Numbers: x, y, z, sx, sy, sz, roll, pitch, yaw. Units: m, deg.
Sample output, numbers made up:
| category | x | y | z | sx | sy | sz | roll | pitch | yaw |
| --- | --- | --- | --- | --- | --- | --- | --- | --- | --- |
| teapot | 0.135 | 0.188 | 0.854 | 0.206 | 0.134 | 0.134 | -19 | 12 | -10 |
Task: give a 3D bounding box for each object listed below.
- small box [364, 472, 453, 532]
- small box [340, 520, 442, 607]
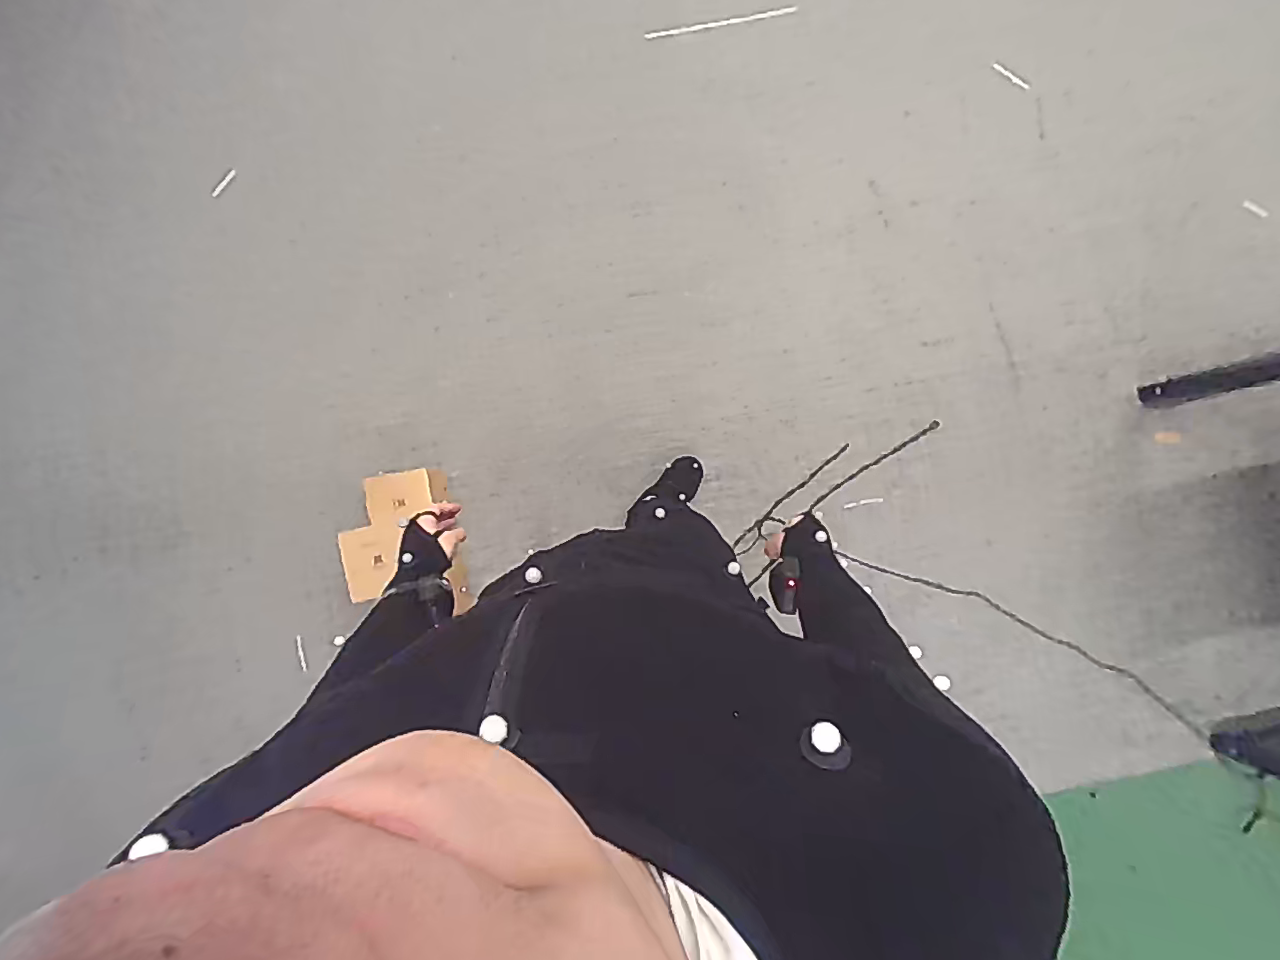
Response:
| category | x | y | z | sx | sy | sz | roll | pitch | yaw |
| --- | --- | --- | --- | --- | --- | --- | --- | --- | --- |
| small box | -0.646 | 0.072 | 1.533 | 0.179 | 0.176 | 0.168 | -12 | 90 | -1 |
| small box | -0.620 | 0.205 | 1.368 | 0.168 | 0.176 | 0.179 | -13 | 88 | -2 |
